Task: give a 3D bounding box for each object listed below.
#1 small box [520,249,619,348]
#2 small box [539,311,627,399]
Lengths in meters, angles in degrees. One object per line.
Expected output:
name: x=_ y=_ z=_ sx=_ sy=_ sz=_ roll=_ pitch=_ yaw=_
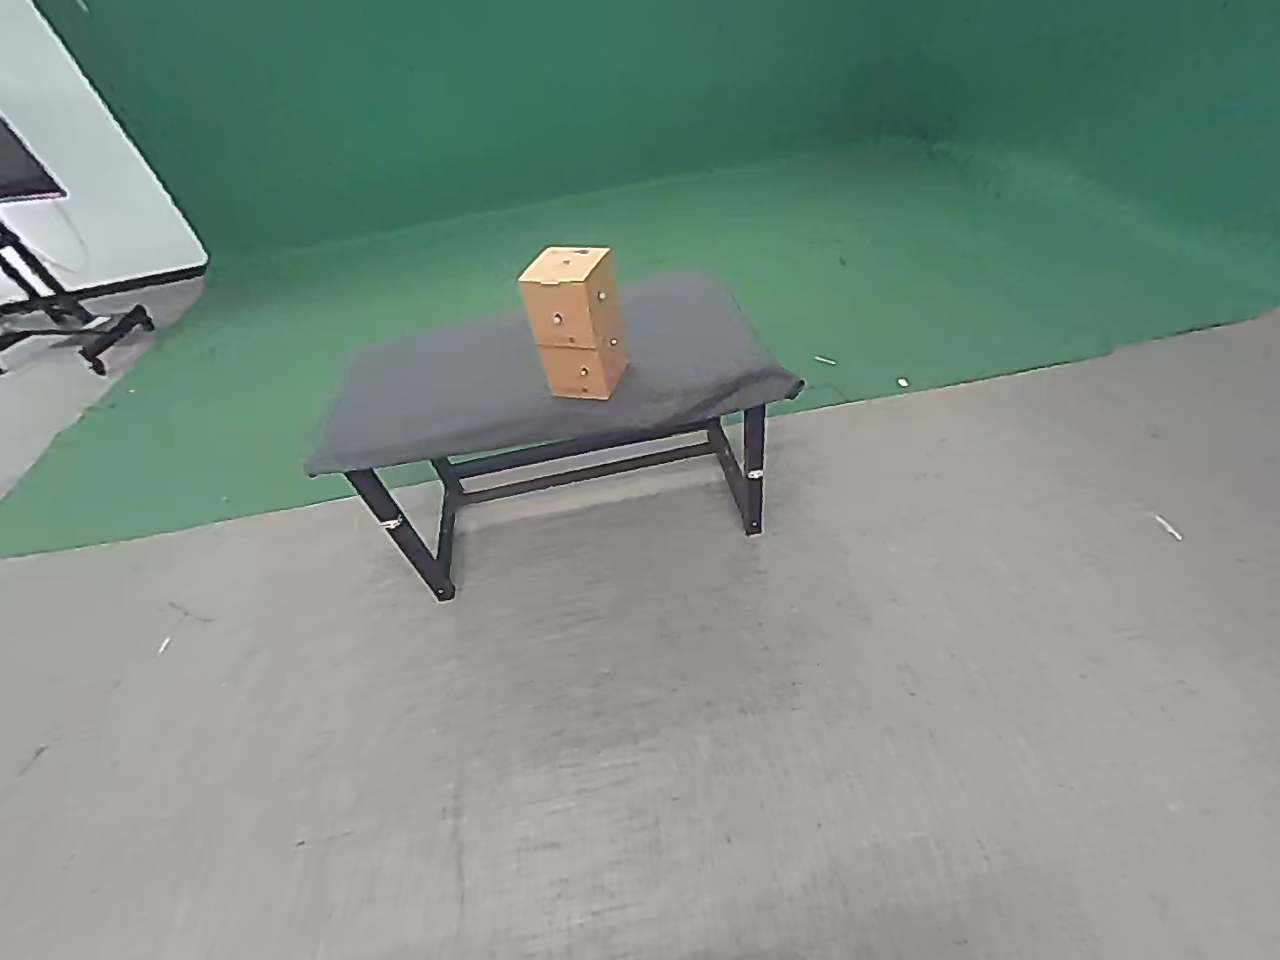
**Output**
small box: x=-0.159 y=-0.437 z=1.302 sx=0.168 sy=0.176 sz=0.179 roll=9 pitch=49 yaw=17
small box: x=-0.141 y=-0.332 z=1.427 sx=0.168 sy=0.176 sz=0.179 roll=8 pitch=47 yaw=16
